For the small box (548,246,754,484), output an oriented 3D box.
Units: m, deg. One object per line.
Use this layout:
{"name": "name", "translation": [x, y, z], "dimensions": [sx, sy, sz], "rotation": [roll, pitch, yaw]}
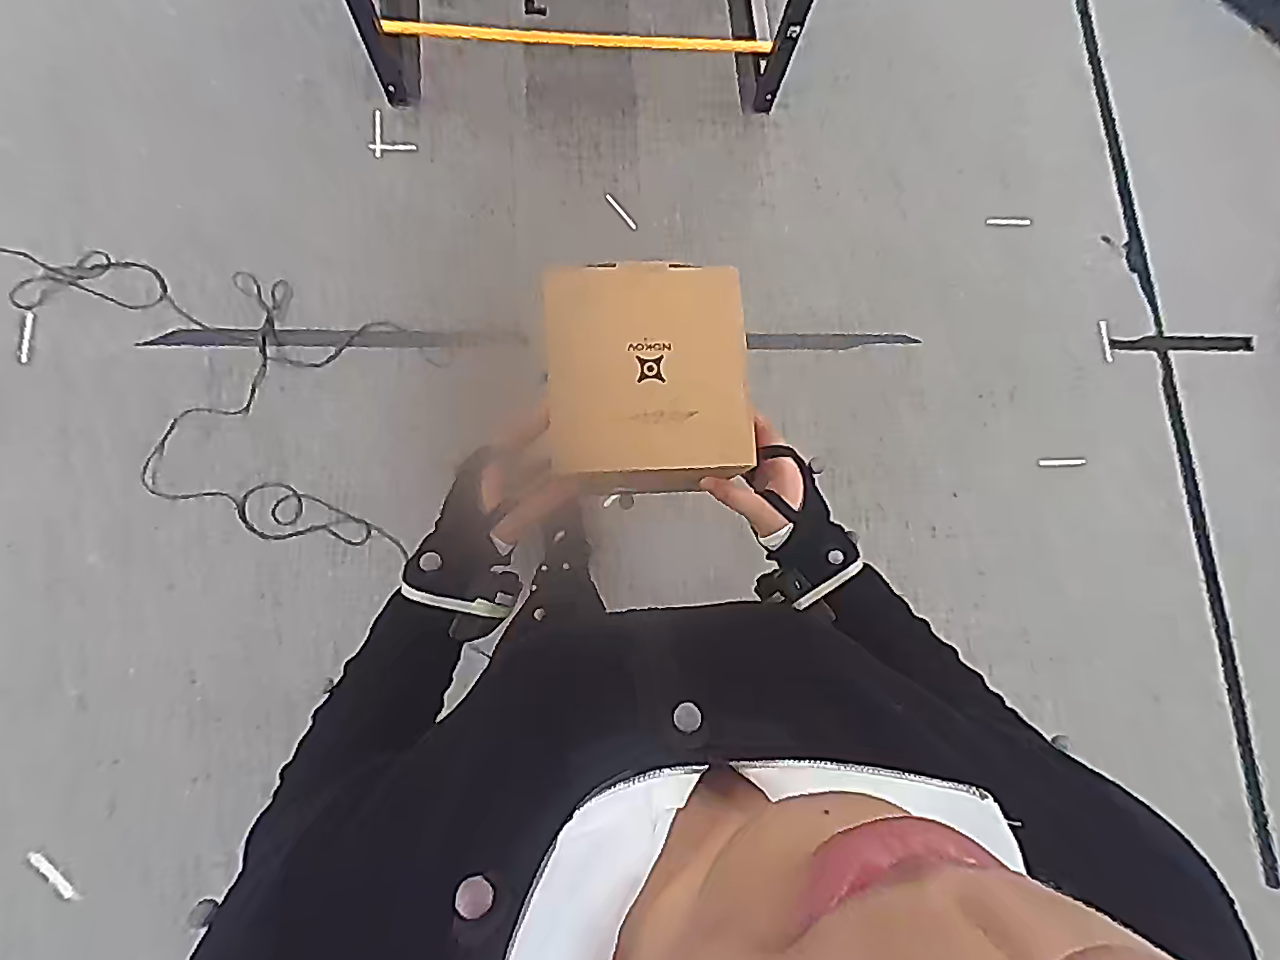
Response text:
{"name": "small box", "translation": [-0.003, -0.096, 0.518], "dimensions": [0.168, 0.176, 0.179], "rotation": [-2, 82, -7]}
